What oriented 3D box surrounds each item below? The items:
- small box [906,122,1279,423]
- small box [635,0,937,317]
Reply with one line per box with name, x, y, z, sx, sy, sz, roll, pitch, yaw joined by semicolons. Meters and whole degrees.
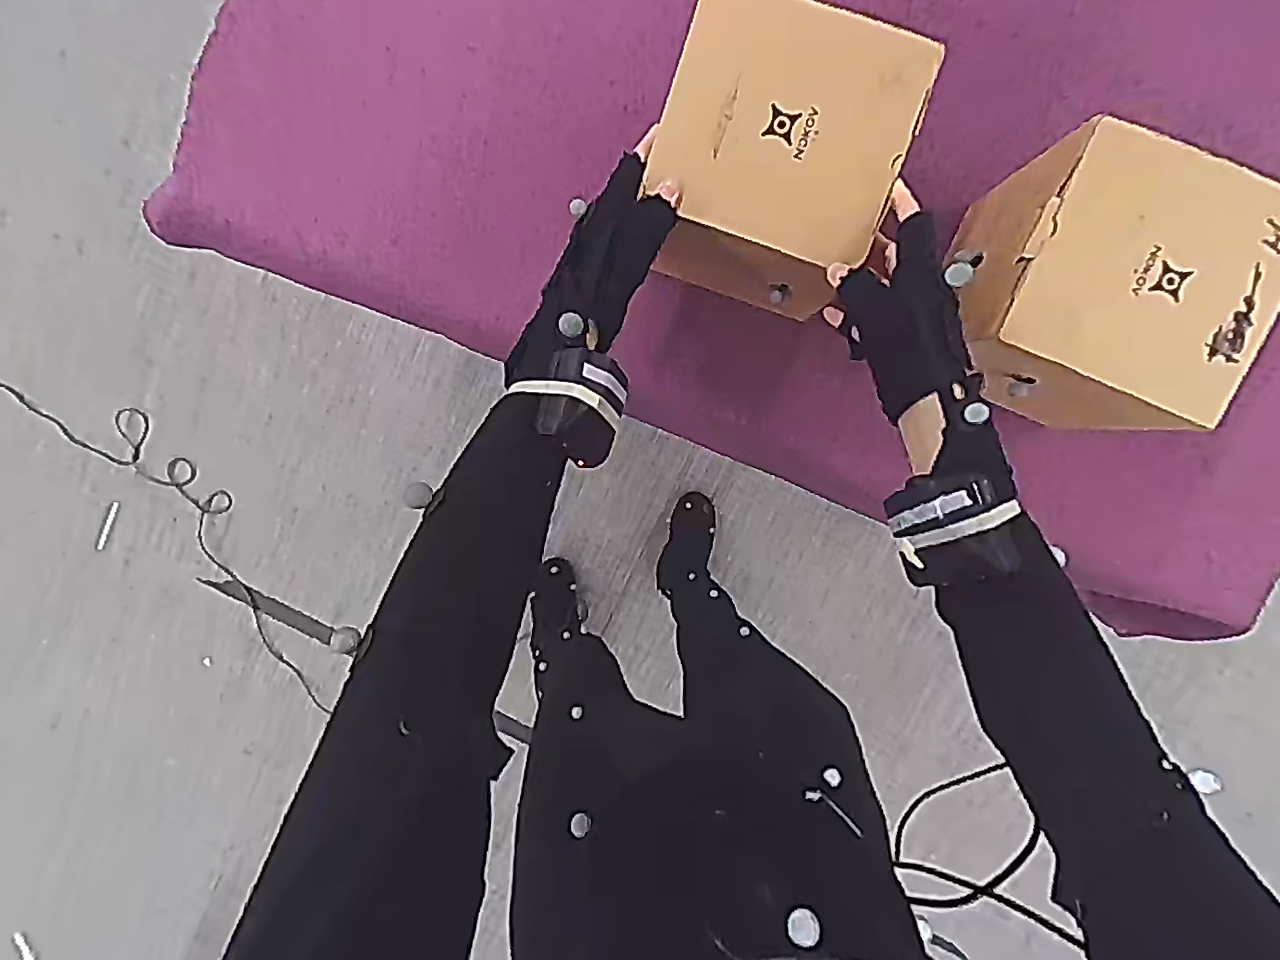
small box;0.367;-0.152;0.464;0.179;0.176;0.168;23;97;1
small box;0.107;-0.255;0.468;0.179;0.176;0.168;18;95;2
